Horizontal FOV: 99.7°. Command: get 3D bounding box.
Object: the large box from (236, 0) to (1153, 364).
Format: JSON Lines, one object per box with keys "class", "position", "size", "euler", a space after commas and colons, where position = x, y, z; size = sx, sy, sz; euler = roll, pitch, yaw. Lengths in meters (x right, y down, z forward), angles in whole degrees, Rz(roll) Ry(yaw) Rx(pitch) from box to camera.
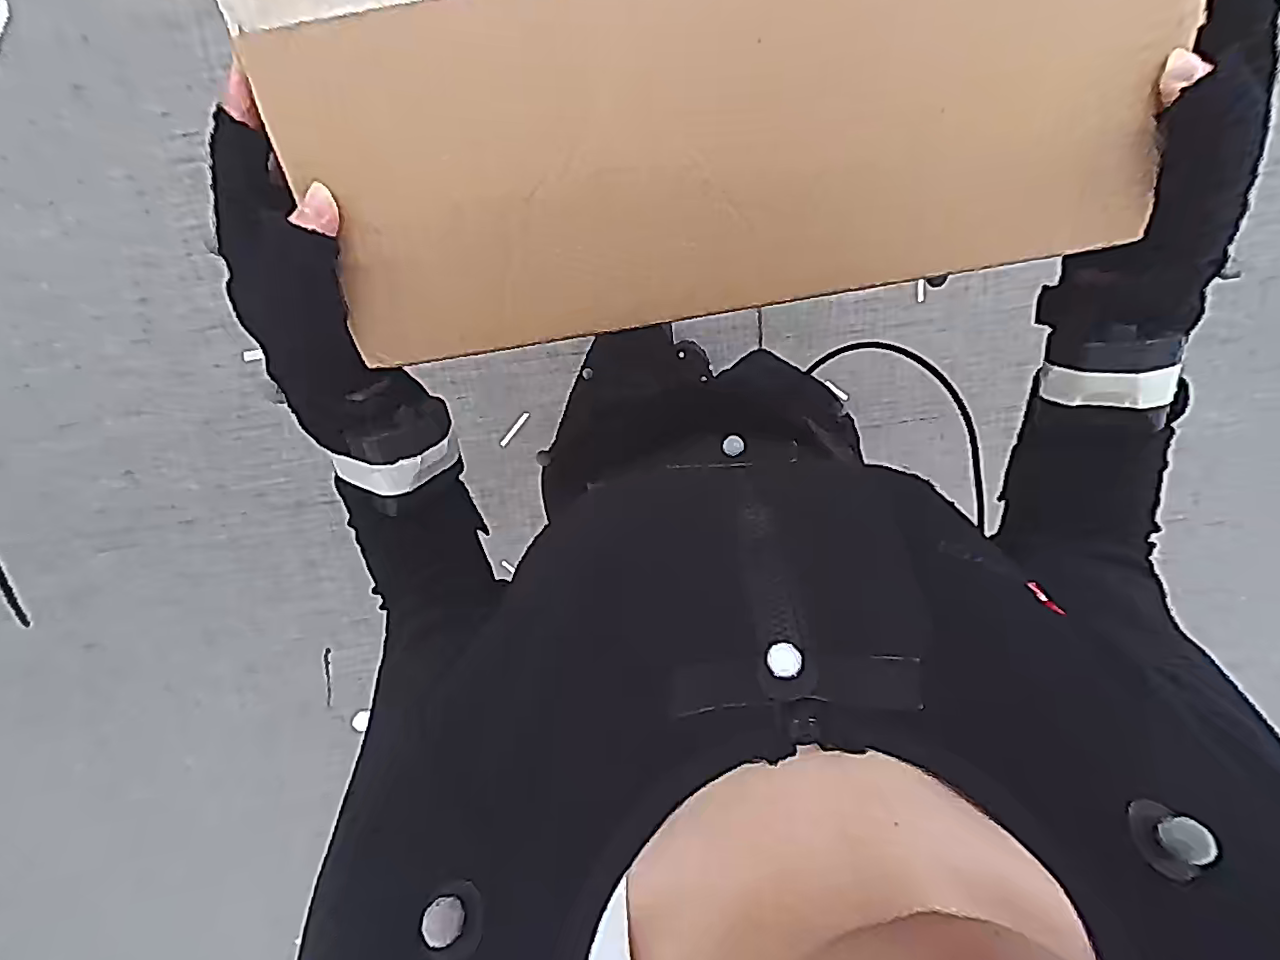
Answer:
{"class": "large box", "position": [0.020, -0.300, 0.355], "size": [0.408, 0.320, 0.320], "euler": [-9, 116, 3]}
